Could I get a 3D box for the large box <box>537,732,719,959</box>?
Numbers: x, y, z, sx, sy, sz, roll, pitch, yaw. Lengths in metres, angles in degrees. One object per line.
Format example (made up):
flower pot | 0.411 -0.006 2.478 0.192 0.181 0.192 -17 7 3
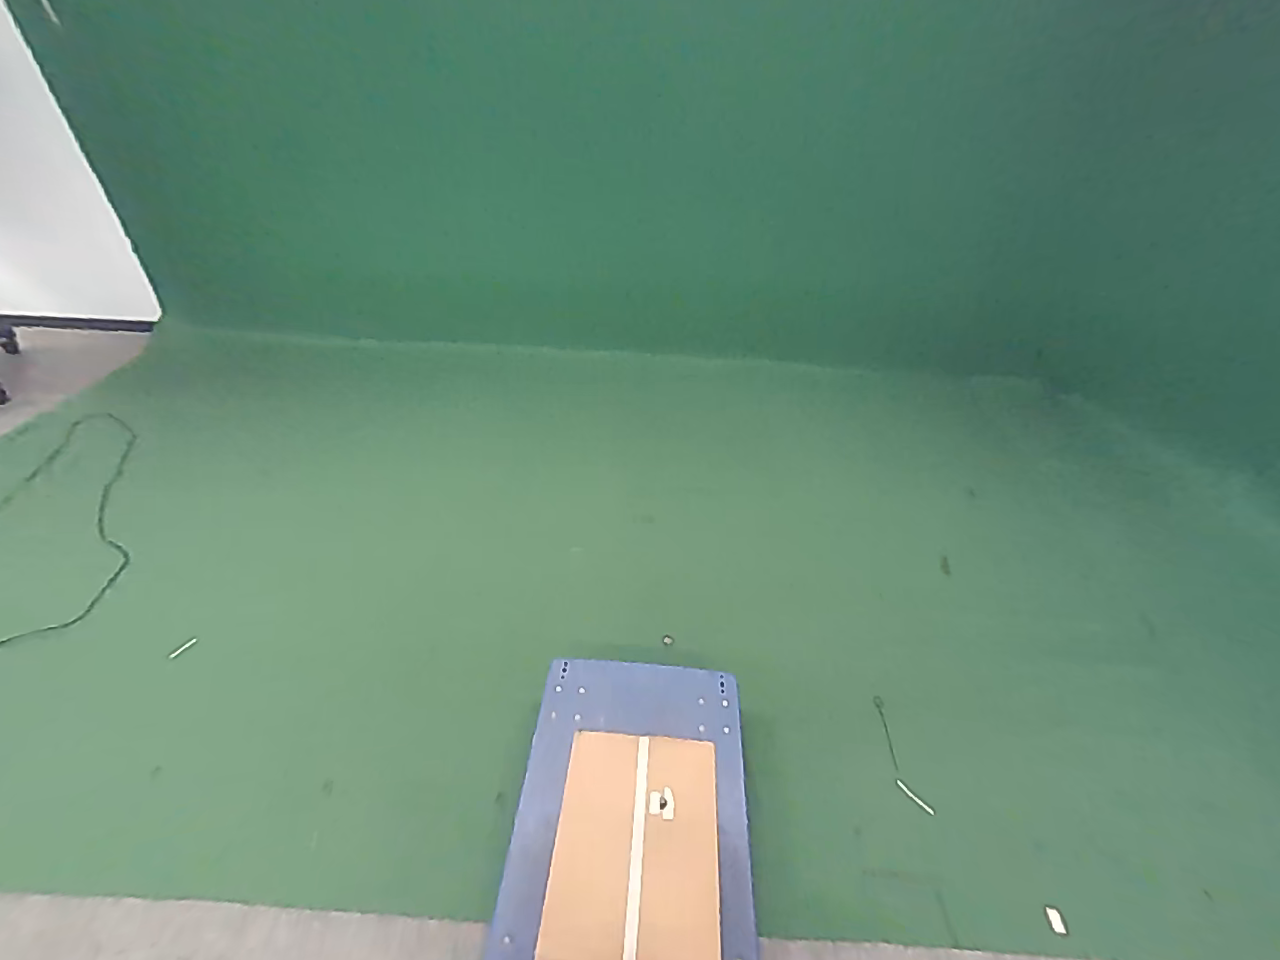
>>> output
large box | -0.014 0.812 1.142 0.320 0.320 0.408 4 38 2
